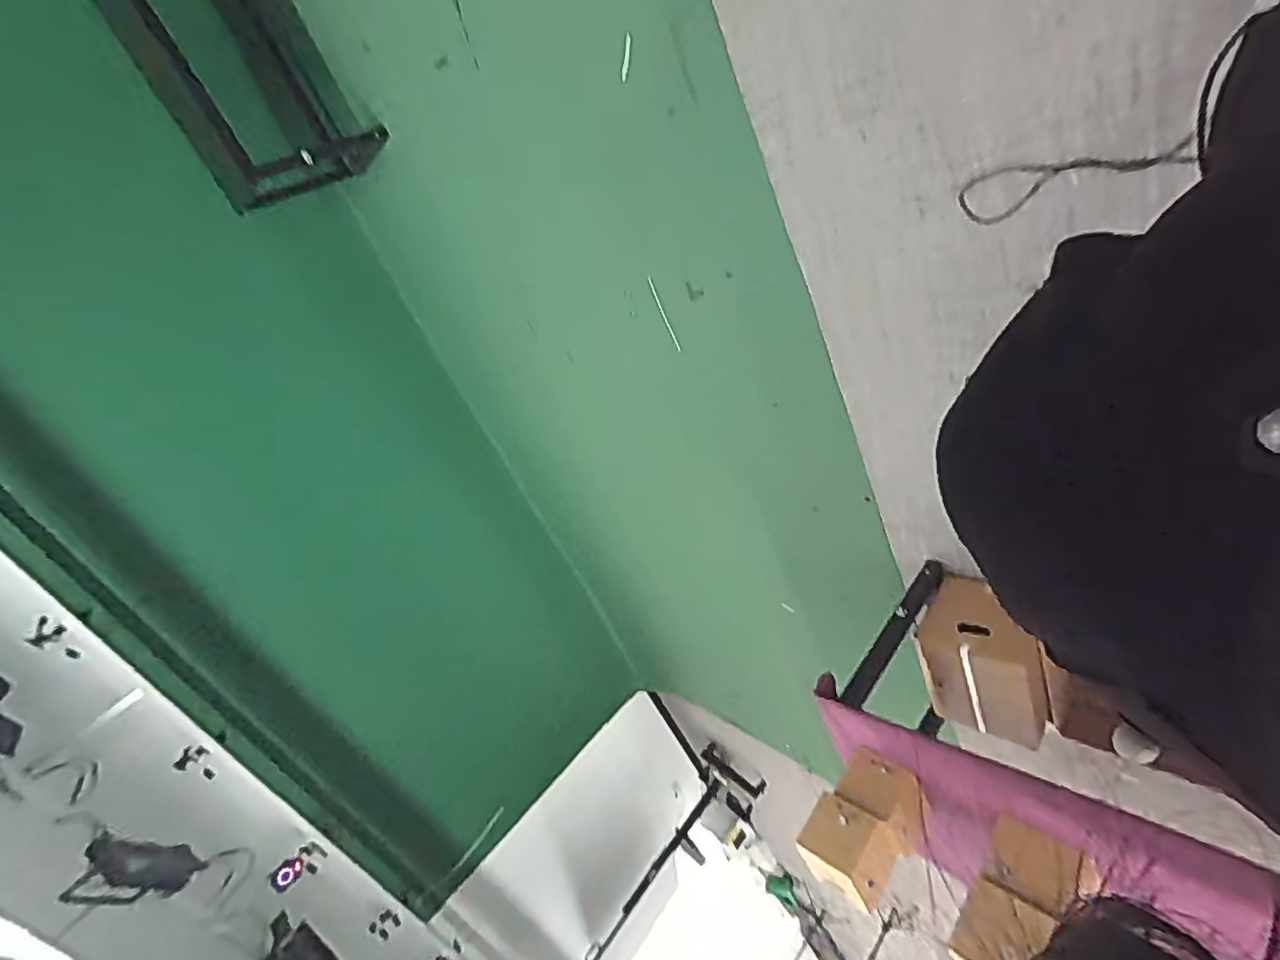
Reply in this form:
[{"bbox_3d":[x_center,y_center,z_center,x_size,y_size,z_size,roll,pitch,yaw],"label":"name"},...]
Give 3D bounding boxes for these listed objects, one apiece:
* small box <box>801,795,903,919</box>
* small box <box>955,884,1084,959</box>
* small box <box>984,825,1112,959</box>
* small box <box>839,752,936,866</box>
[{"bbox_3d":[0.562,0.982,1.422,0.168,0.176,0.179,0,126,53],"label":"small box"},{"bbox_3d":[0.785,0.988,1.106,0.179,0.176,0.168,2,126,54],"label":"small box"},{"bbox_3d":[0.901,0.908,1.193,0.179,0.176,0.168,3,129,53],"label":"small box"},{"bbox_3d":[0.686,0.898,1.490,0.168,0.176,0.179,0,126,53],"label":"small box"}]
